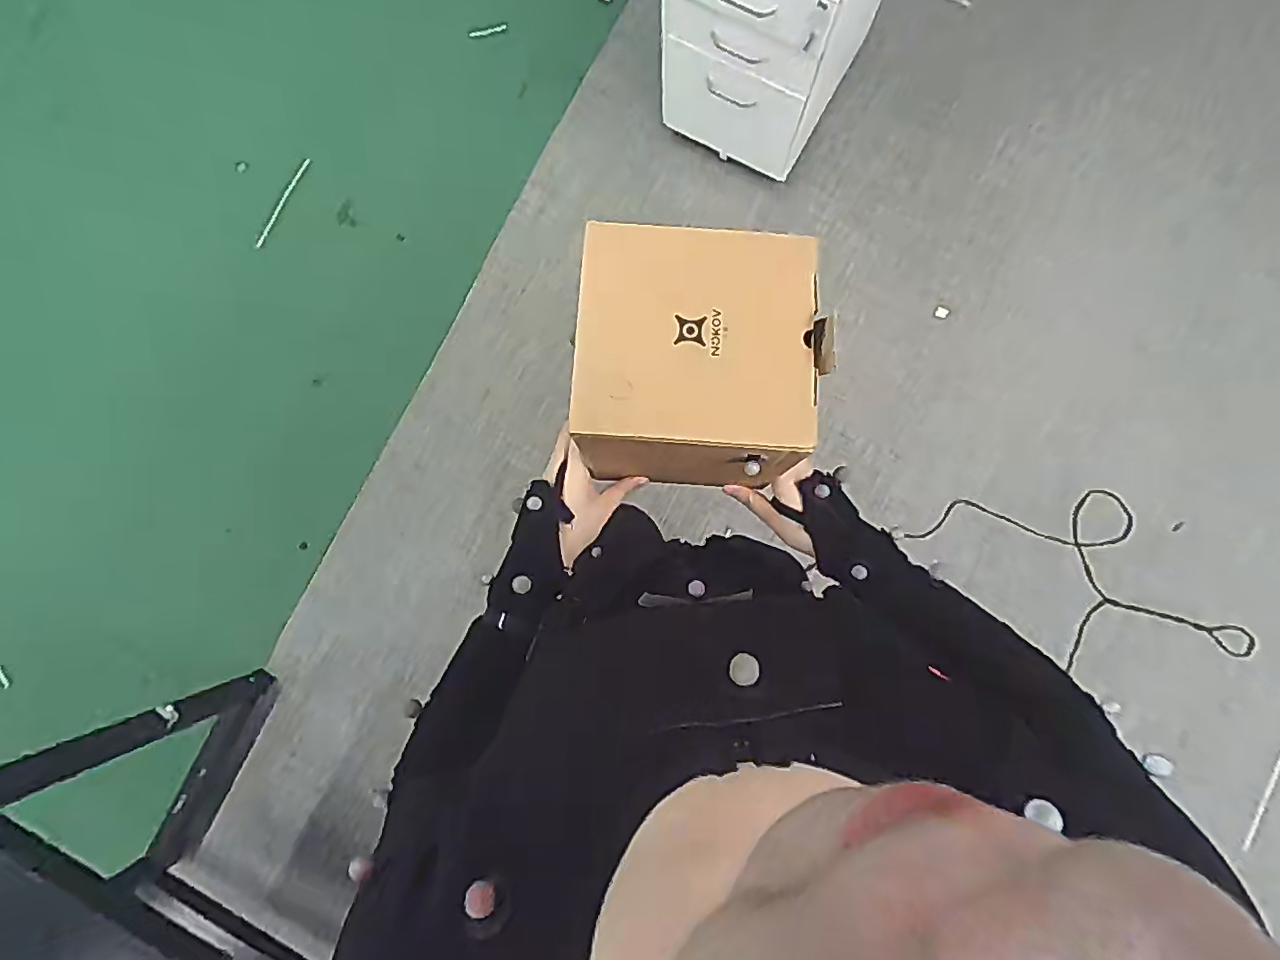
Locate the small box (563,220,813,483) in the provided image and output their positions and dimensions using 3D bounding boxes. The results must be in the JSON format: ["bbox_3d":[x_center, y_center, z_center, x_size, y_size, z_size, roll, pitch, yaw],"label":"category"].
[{"bbox_3d":[0.038,-0.095,0.470,0.179,0.176,0.168,4,79,0],"label":"small box"}]
